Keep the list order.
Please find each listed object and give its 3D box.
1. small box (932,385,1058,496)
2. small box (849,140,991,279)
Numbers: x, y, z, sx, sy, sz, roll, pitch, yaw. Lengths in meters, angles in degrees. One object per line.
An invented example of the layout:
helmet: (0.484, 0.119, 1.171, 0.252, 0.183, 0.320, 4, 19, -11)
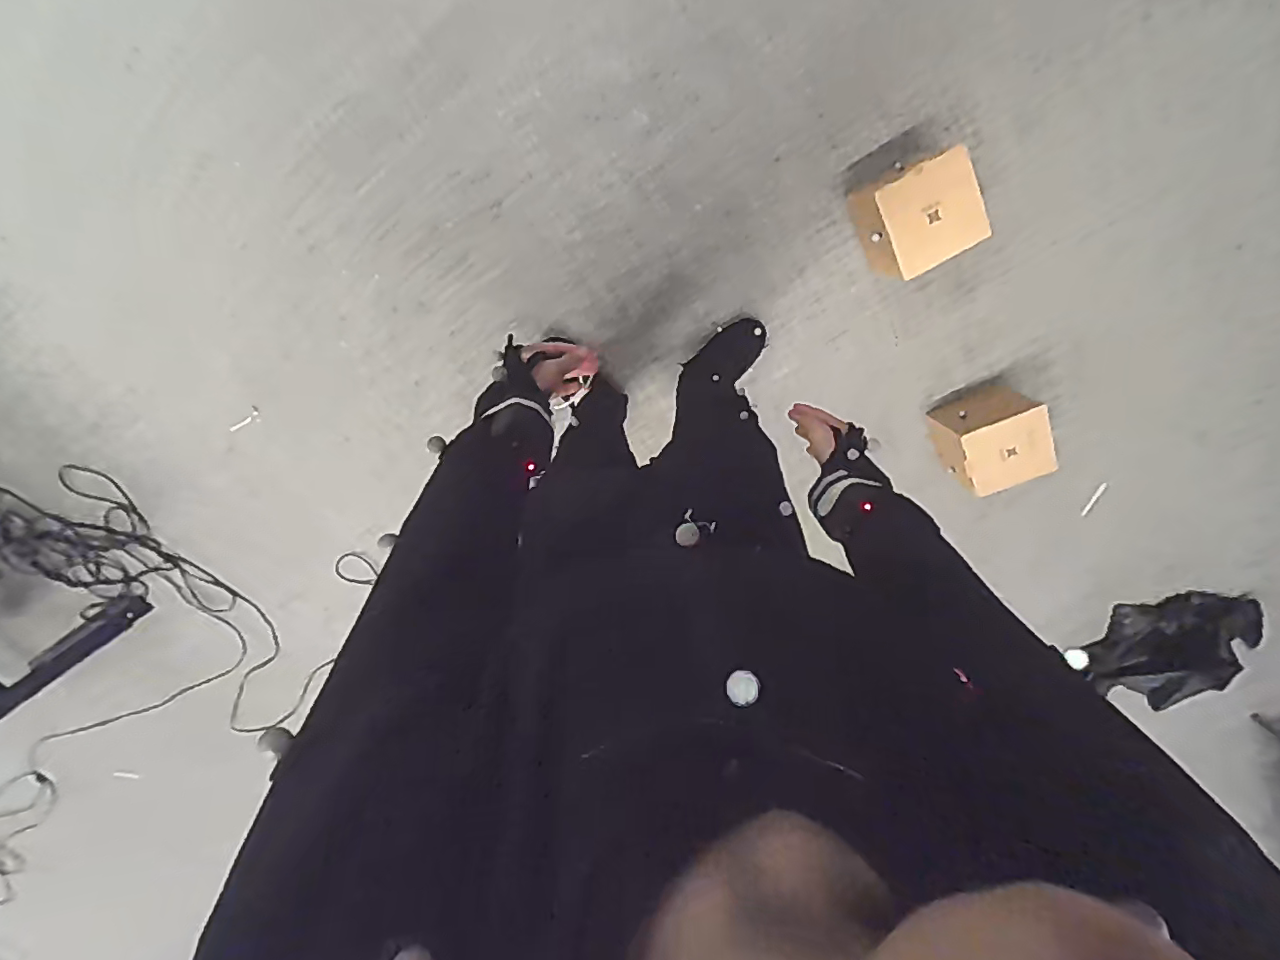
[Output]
small box: (0.788, -0.094, 1.222, 0.179, 0.176, 0.168, -24, 112, 11)
small box: (0.532, -0.515, 1.046, 0.168, 0.176, 0.179, -27, 110, 13)
